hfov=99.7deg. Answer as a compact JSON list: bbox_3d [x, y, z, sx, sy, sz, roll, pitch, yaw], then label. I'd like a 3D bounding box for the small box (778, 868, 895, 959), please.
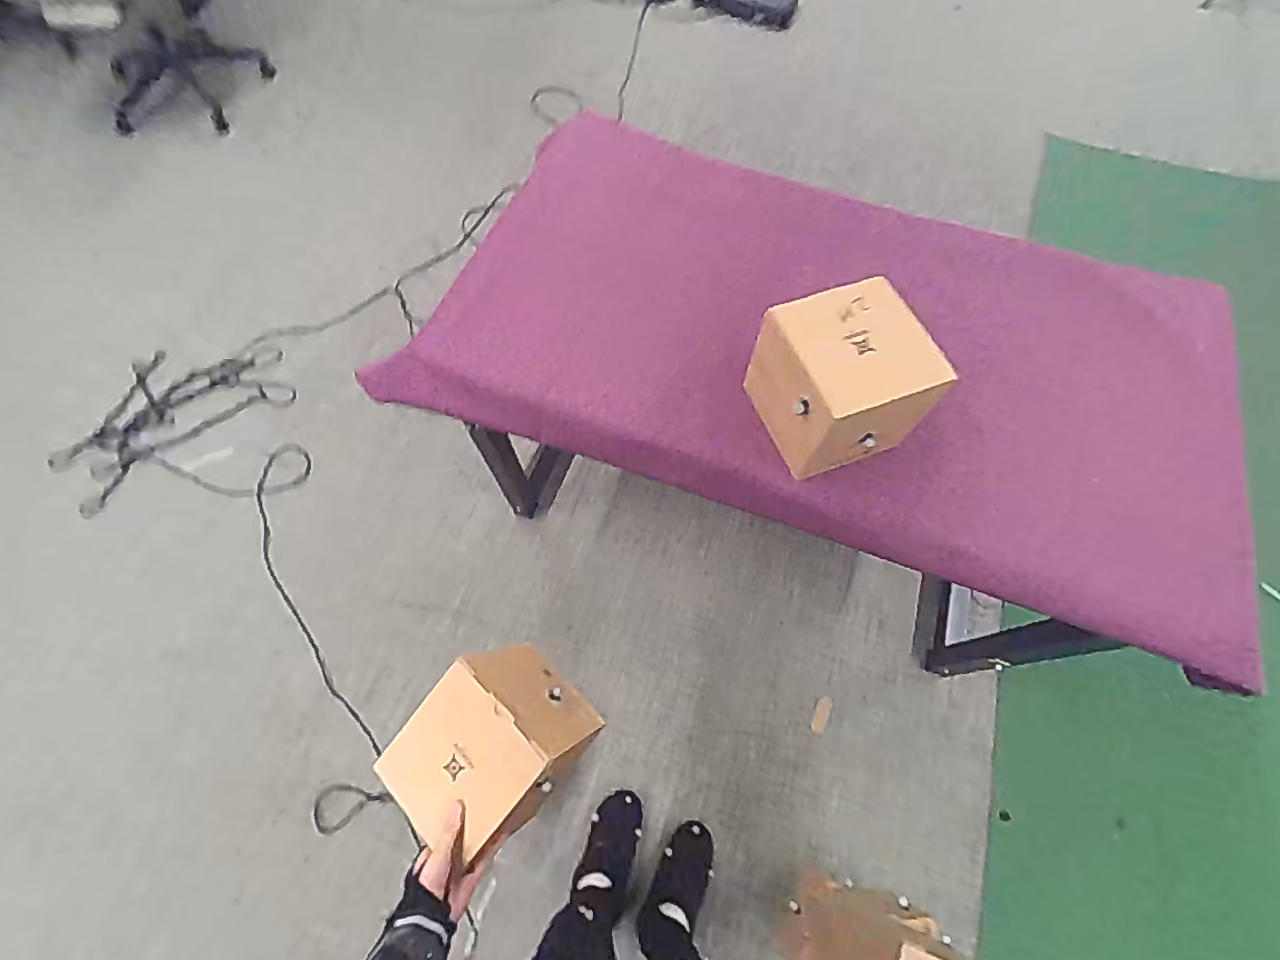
[{"bbox_3d":[0.392,0.901,1.058,0.179,0.176,0.168,28,68,12],"label":"small box"}]

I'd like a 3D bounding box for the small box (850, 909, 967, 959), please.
[{"bbox_3d":[0.398,0.757,0.763,0.168,0.176,0.179,21,68,8],"label":"small box"}]

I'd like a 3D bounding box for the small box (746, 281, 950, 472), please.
[{"bbox_3d":[0.262,-0.128,0.729,0.168,0.176,0.179,-18,66,-10],"label":"small box"}]

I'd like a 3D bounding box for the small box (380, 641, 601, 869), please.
[{"bbox_3d":[-0.179,0.329,0.690,0.168,0.176,0.179,39,93,21],"label":"small box"}]
